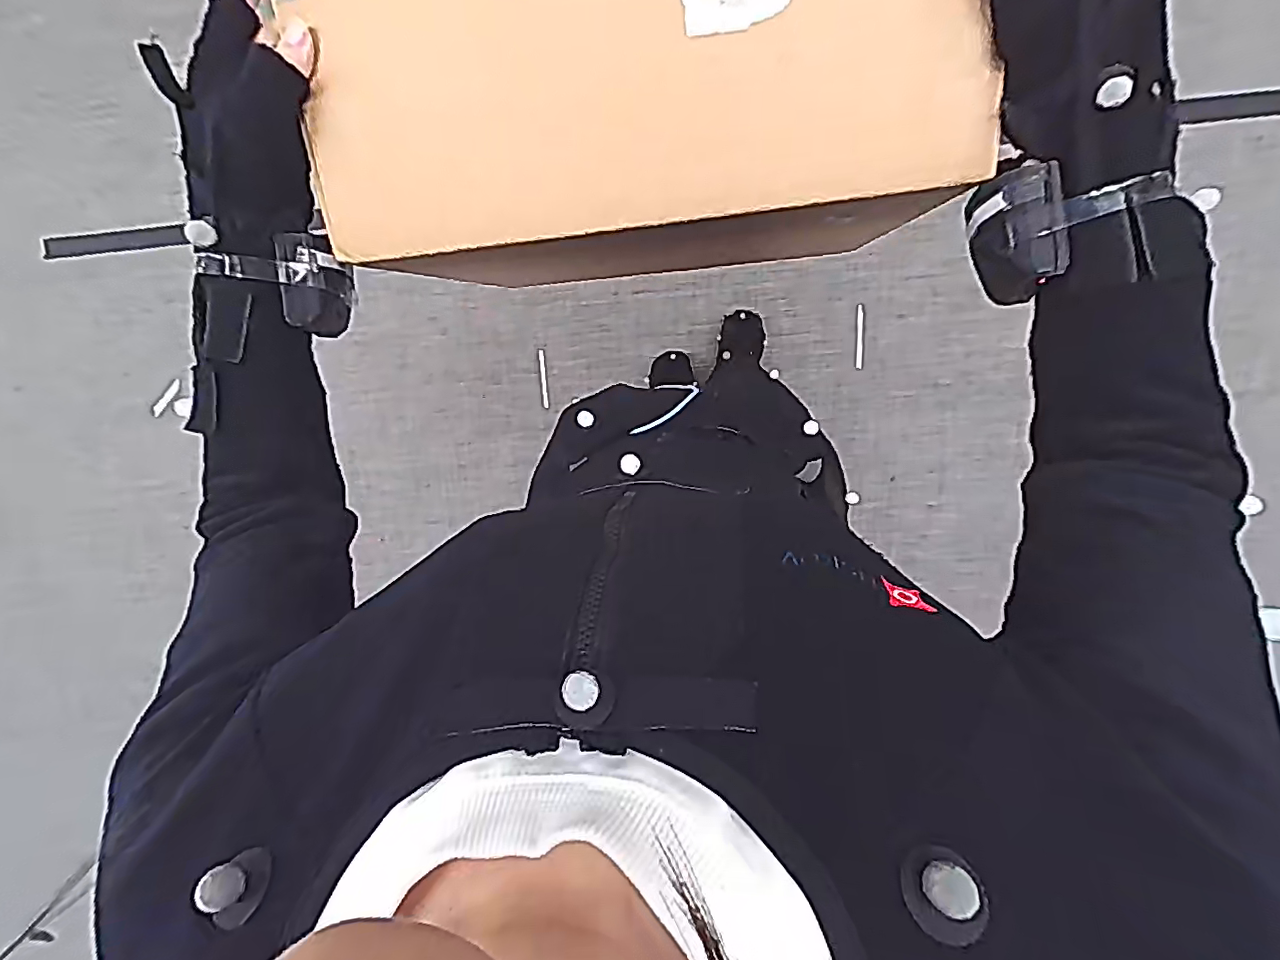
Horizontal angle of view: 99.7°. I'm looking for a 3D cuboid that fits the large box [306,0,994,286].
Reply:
[{"bbox_3d":[0.006,-0.355,0.444,0.408,0.320,0.320,-4,106,8],"label":"large box"}]
